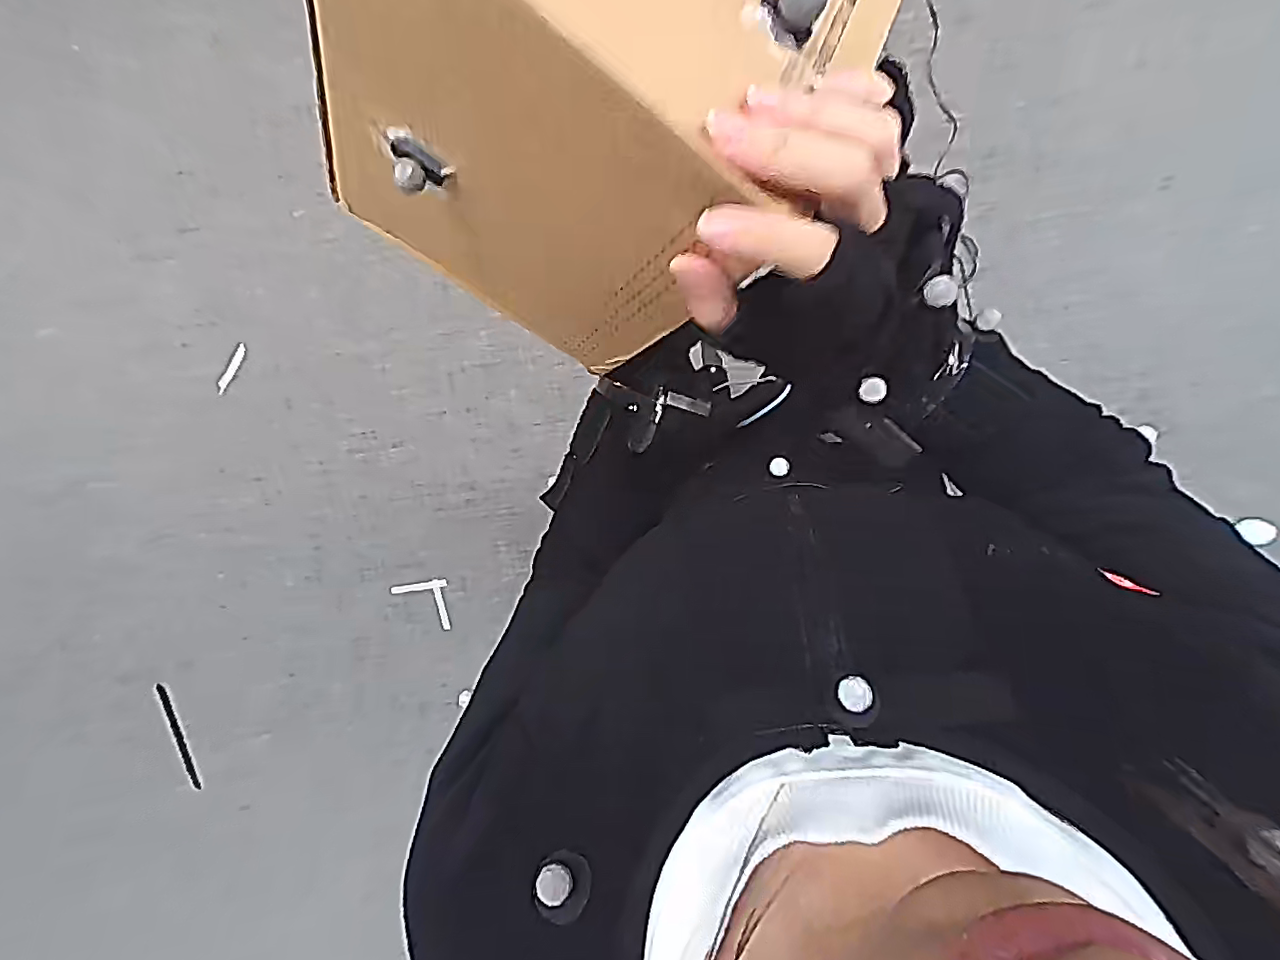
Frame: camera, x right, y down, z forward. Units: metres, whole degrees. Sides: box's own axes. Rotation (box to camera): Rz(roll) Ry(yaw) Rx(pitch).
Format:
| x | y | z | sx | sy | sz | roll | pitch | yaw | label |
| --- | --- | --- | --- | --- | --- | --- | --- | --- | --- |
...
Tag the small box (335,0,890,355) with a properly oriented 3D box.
| x | y | z | sx | sy | sz | roll | pitch | yaw | label |
| --- | --- | --- | --- | --- | --- | --- | --- | --- | --- |
| -0.017 | -0.187 | 0.263 | 0.176 | 0.179 | 0.168 | 29 | 72 | -22 | small box |
